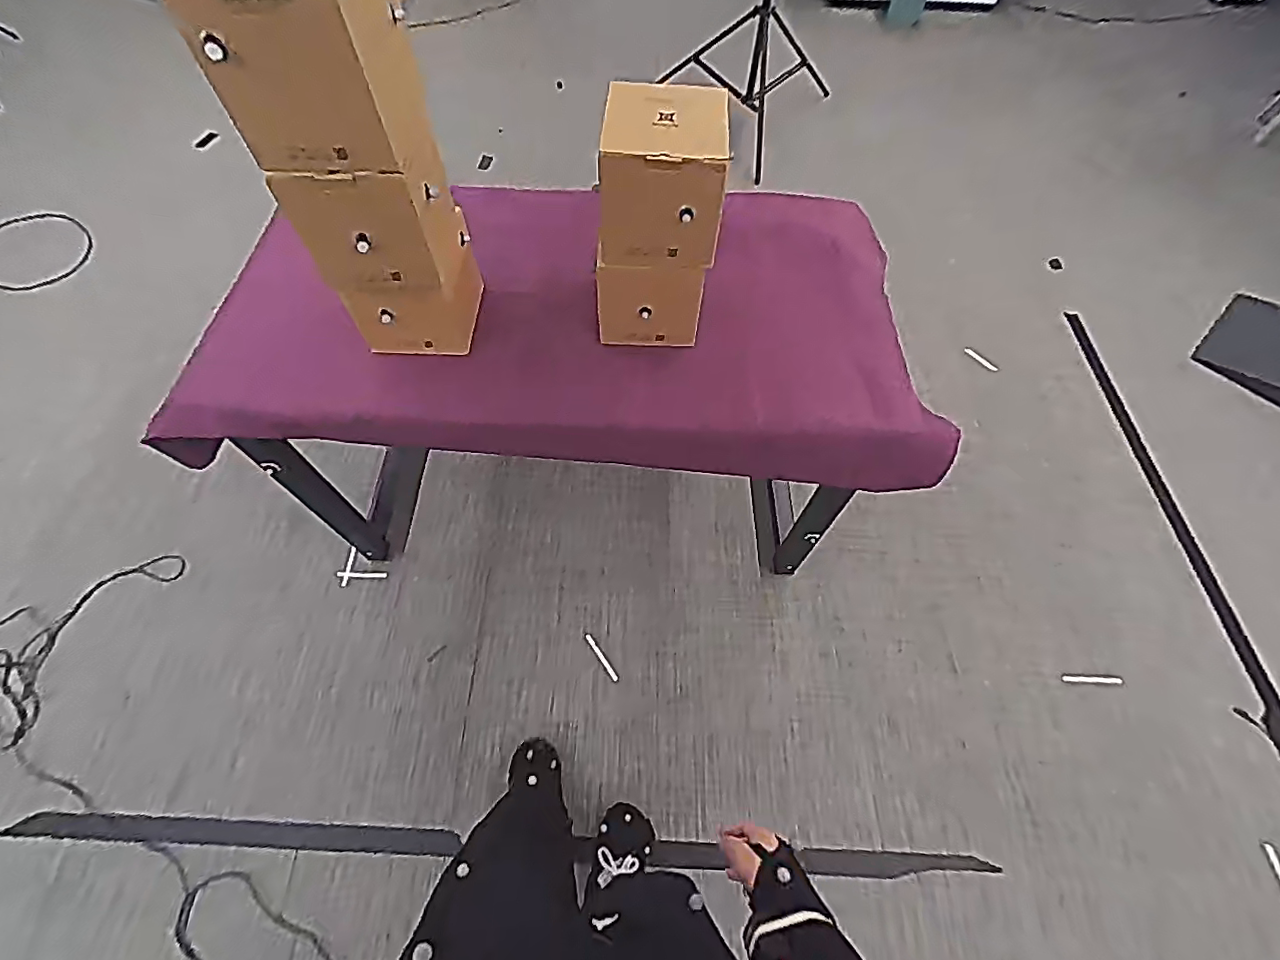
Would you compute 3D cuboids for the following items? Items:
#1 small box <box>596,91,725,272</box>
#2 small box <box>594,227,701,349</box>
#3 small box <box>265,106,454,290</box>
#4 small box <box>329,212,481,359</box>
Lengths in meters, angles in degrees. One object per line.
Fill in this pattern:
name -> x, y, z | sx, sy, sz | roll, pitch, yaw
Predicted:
small box -> 0.029, -0.425, 0.784 | 0.168, 0.176, 0.179 | 4, 60, -1
small box -> 0.014, -0.343, 0.923 | 0.168, 0.176, 0.179 | 2, 60, -1
small box -> -0.368, -0.382, 0.750 | 0.168, 0.176, 0.179 | -3, 61, -3
small box -> -0.375, -0.320, 0.903 | 0.168, 0.176, 0.179 | 1, 60, -1
